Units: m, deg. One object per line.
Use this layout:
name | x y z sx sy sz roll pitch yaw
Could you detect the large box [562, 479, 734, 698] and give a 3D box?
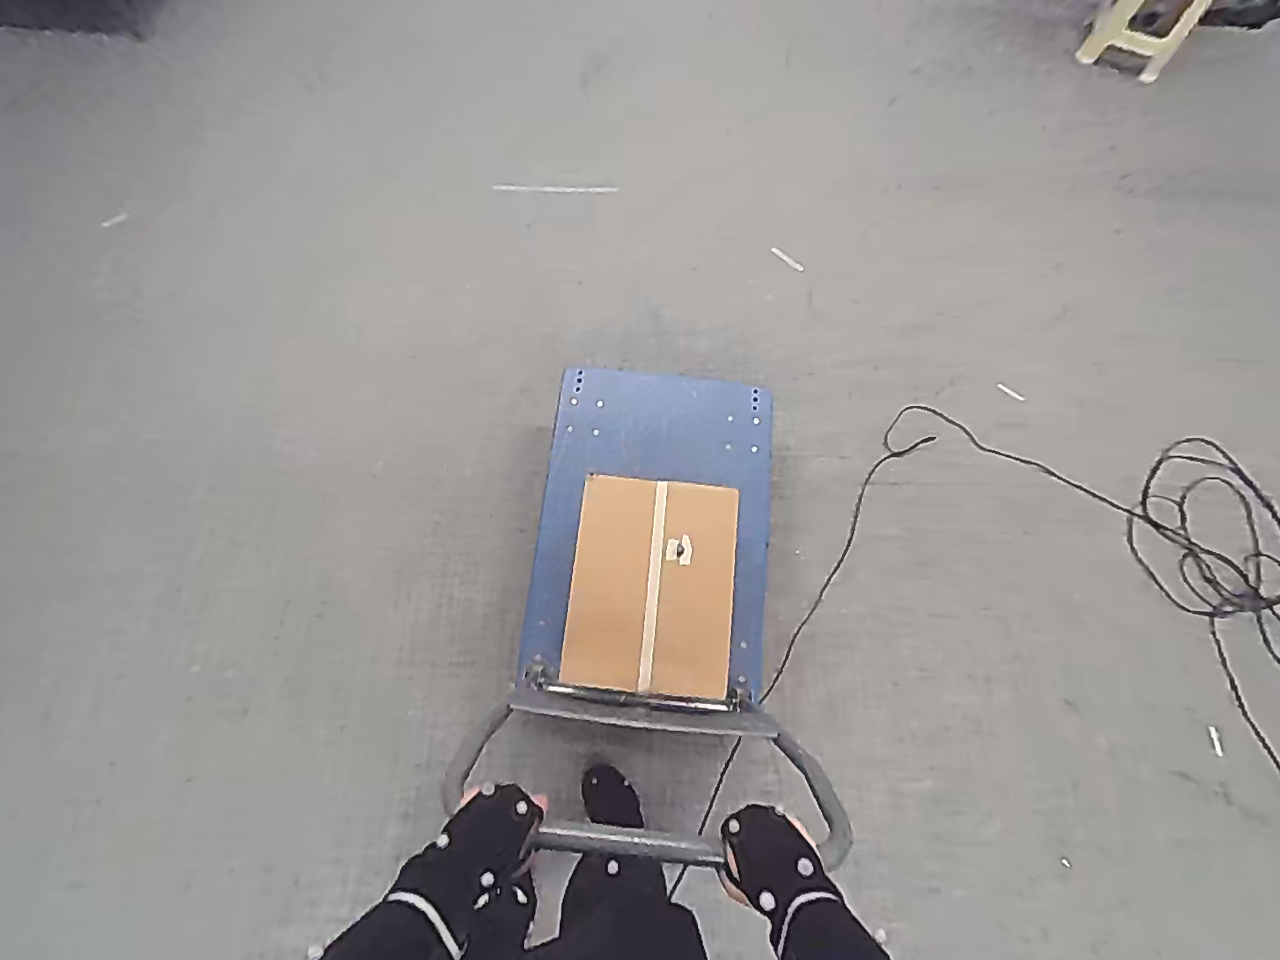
large box | 0.021 0.240 1.187 0.320 0.320 0.408 6 75 0
